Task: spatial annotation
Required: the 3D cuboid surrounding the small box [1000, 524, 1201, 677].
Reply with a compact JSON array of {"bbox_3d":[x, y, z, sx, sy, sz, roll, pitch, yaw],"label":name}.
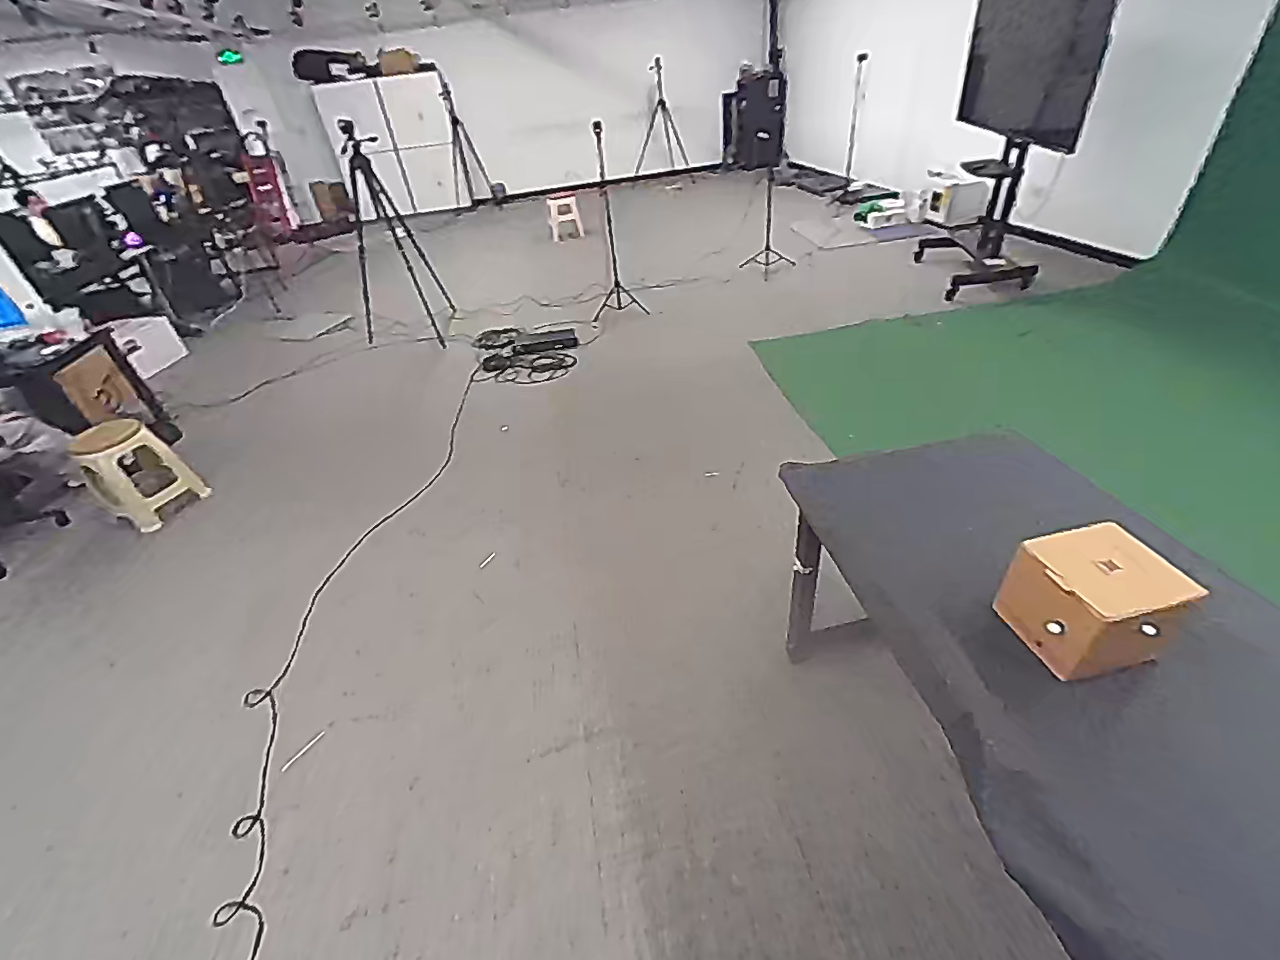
[{"bbox_3d":[0.742,0.203,0.902,0.179,0.176,0.168,-11,39,-7],"label":"small box"}]
